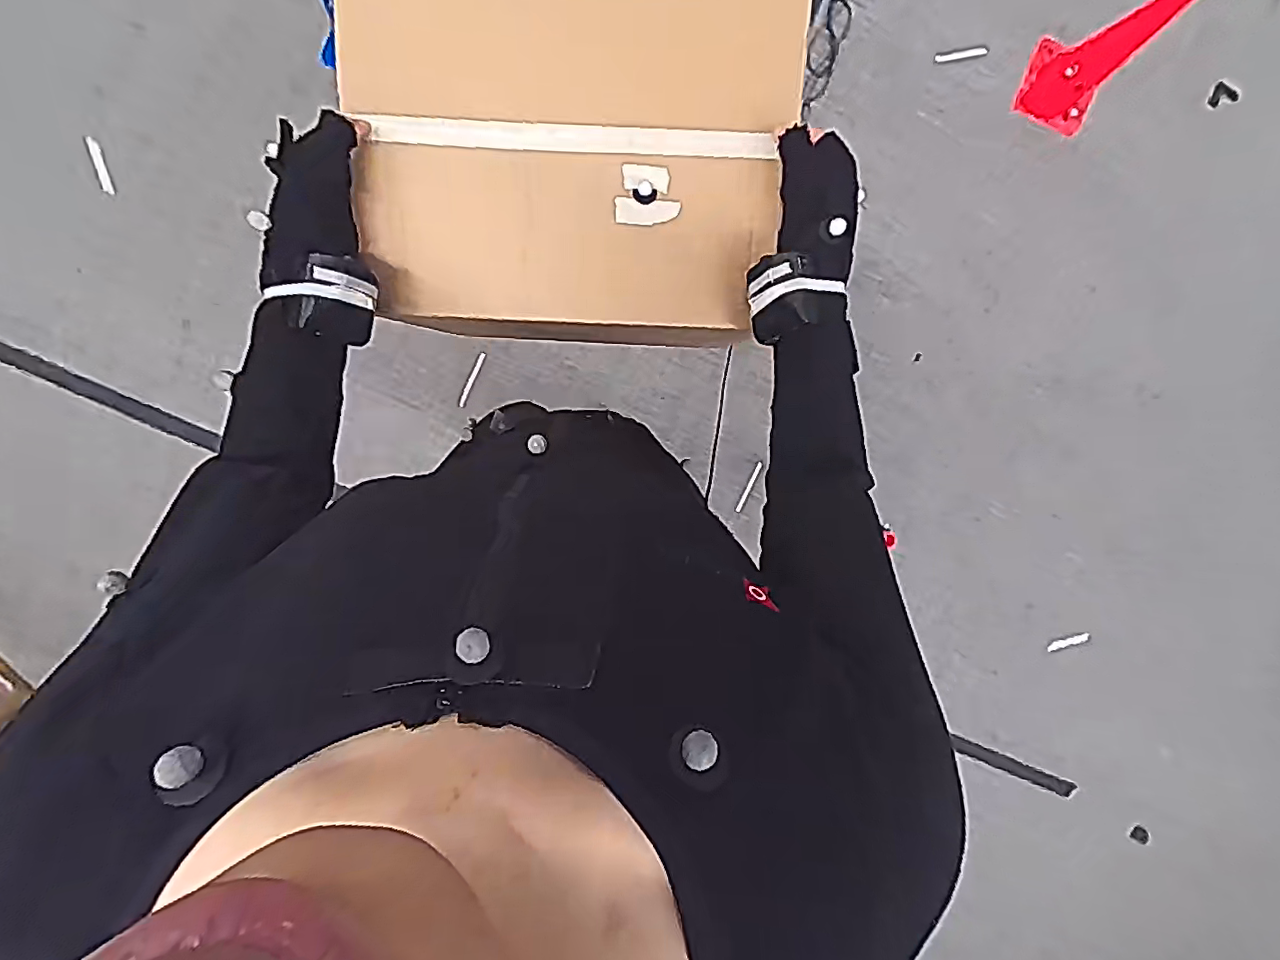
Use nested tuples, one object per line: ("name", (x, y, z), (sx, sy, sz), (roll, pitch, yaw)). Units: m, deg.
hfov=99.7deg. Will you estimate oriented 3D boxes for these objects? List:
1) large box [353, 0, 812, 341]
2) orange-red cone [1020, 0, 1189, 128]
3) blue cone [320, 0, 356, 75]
("large box", (-0.058, -0.338, 0.632), (0.408, 0.320, 0.320), (2, 101, -2))
("orange-red cone", (1.130, -1.046, 1.259), (0.198, 0.360, 0.199), (22, 93, -6))
("blue cone", (-0.657, -1.066, 1.165), (0.192, 0.380, 0.193), (28, 93, -5))
